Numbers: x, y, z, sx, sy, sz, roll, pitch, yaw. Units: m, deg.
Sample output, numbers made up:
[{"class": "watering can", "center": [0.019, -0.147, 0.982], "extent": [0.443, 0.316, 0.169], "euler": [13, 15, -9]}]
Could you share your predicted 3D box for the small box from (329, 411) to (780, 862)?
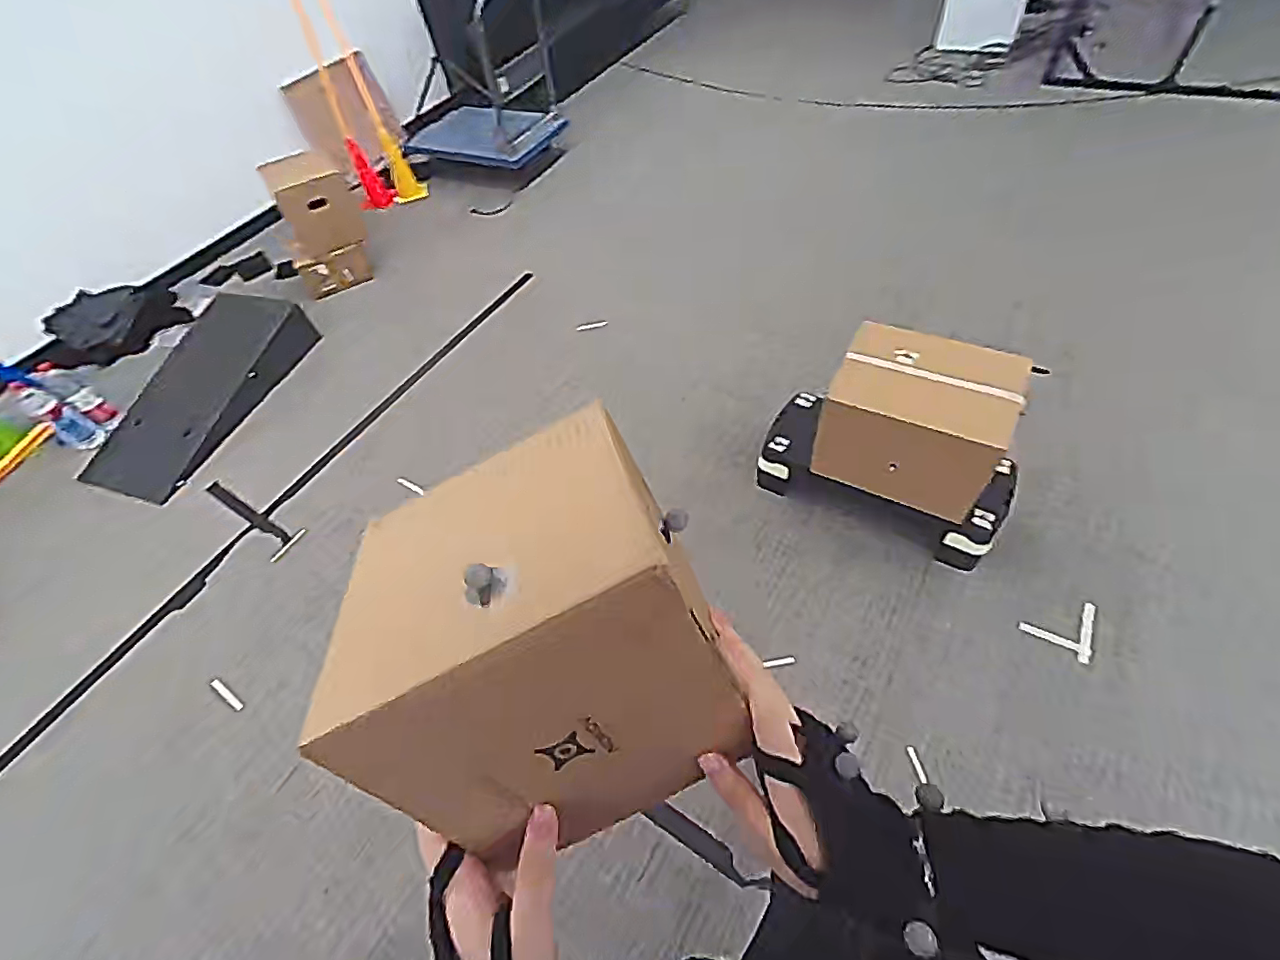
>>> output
[{"class": "small box", "center": [-0.044, 0.084, 0.334], "extent": [0.179, 0.168, 0.176], "euler": [-26, 33, 2]}]

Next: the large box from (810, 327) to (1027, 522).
[{"class": "large box", "center": [0.705, -0.146, 1.414], "extent": [0.408, 0.320, 0.320], "euler": [21, 59, 24]}]
